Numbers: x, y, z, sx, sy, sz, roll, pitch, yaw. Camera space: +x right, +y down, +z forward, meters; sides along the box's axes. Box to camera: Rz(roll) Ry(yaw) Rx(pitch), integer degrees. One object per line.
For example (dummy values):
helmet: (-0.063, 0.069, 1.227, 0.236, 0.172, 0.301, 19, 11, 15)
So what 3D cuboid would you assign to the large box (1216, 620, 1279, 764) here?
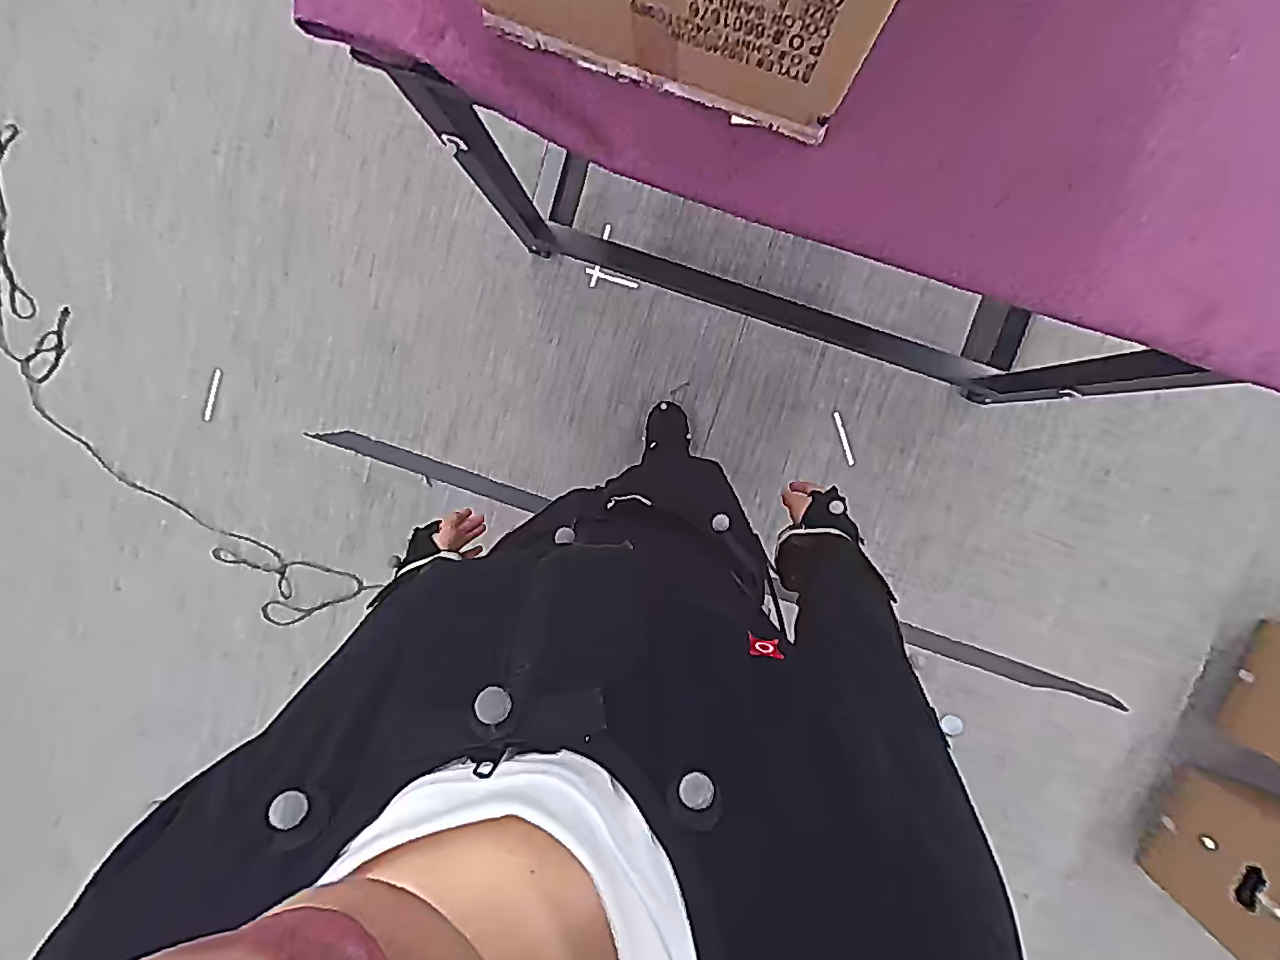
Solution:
large box: (1.671, 0.554, 1.195, 0.408, 0.320, 0.320, 17, 95, 2)
